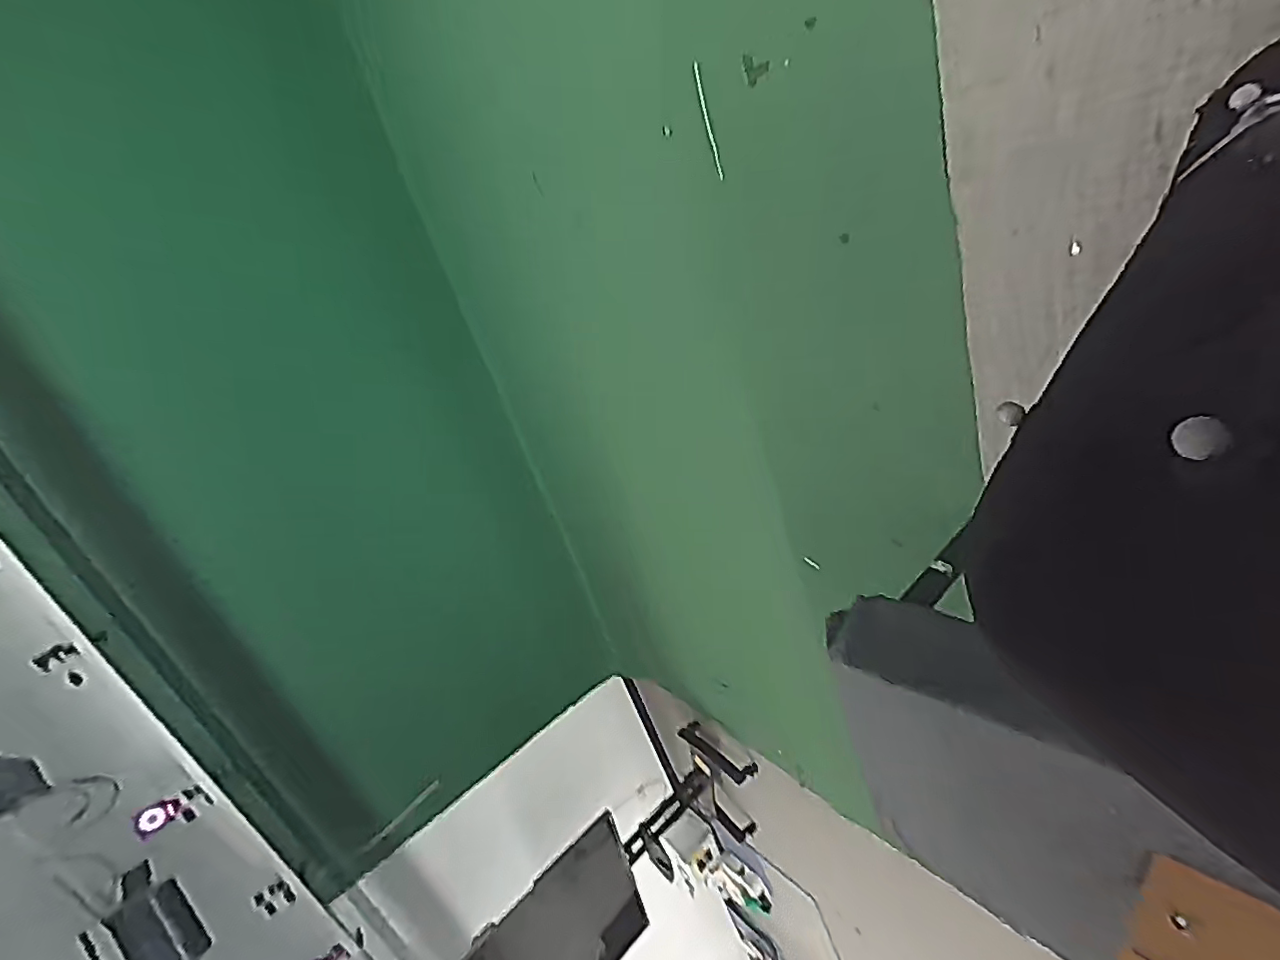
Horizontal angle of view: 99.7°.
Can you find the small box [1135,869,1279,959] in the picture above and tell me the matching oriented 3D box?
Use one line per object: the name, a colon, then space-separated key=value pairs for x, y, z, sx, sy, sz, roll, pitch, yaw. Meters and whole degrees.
small box: x=0.796 y=0.666 z=0.713 sx=0.179 sy=0.176 sz=0.168 roll=6 pitch=125 yaw=54
